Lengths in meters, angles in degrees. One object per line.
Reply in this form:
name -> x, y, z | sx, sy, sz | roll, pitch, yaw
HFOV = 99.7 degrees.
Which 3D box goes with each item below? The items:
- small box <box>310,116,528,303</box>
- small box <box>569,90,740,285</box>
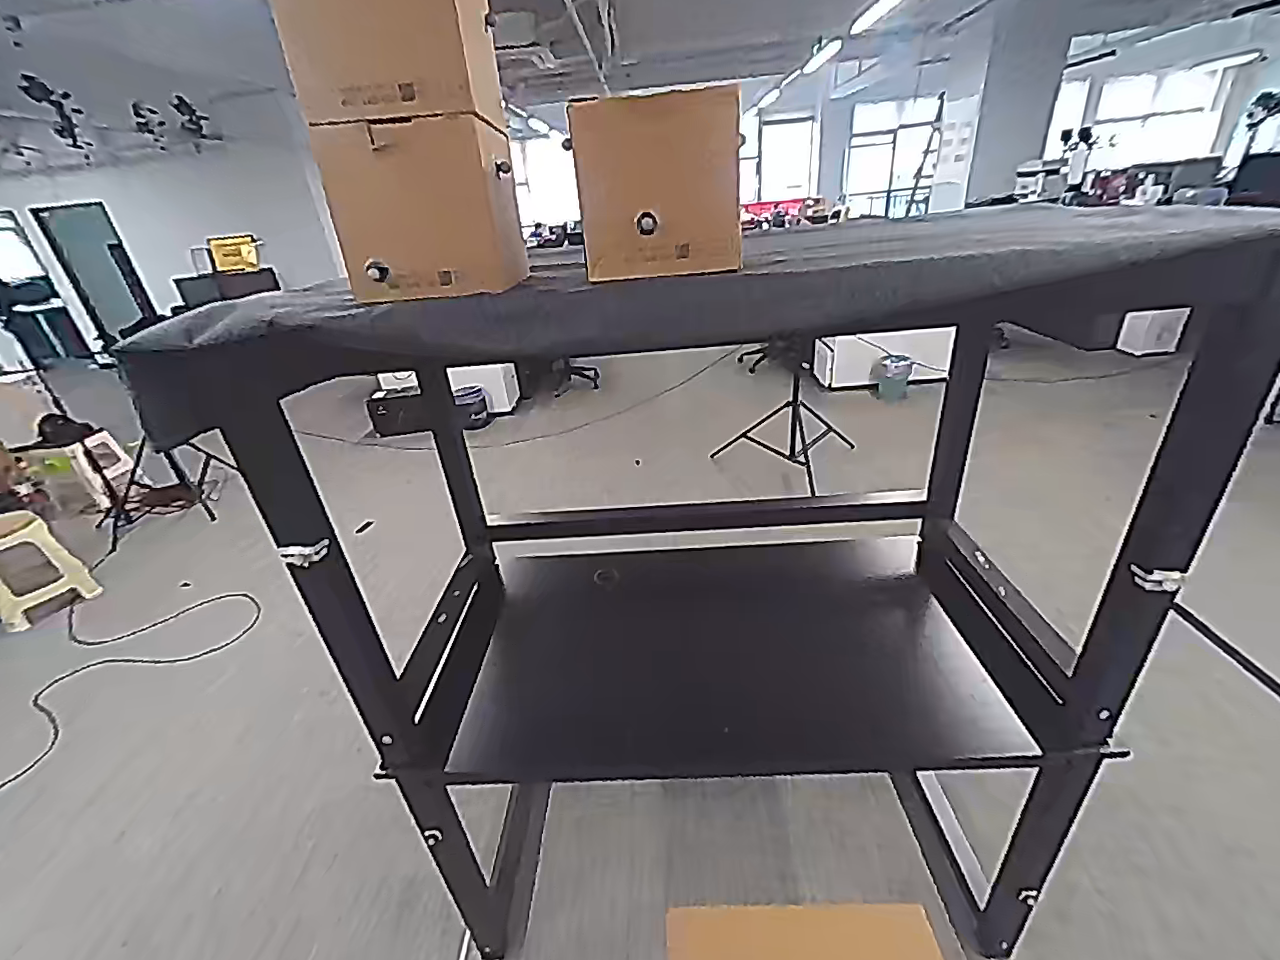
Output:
small box -> -0.234, -0.304, 0.631 | 0.168, 0.176, 0.179 | -4, 25, 1
small box -> 0.021, -0.322, 0.621 | 0.168, 0.176, 0.179 | -4, 26, 3
